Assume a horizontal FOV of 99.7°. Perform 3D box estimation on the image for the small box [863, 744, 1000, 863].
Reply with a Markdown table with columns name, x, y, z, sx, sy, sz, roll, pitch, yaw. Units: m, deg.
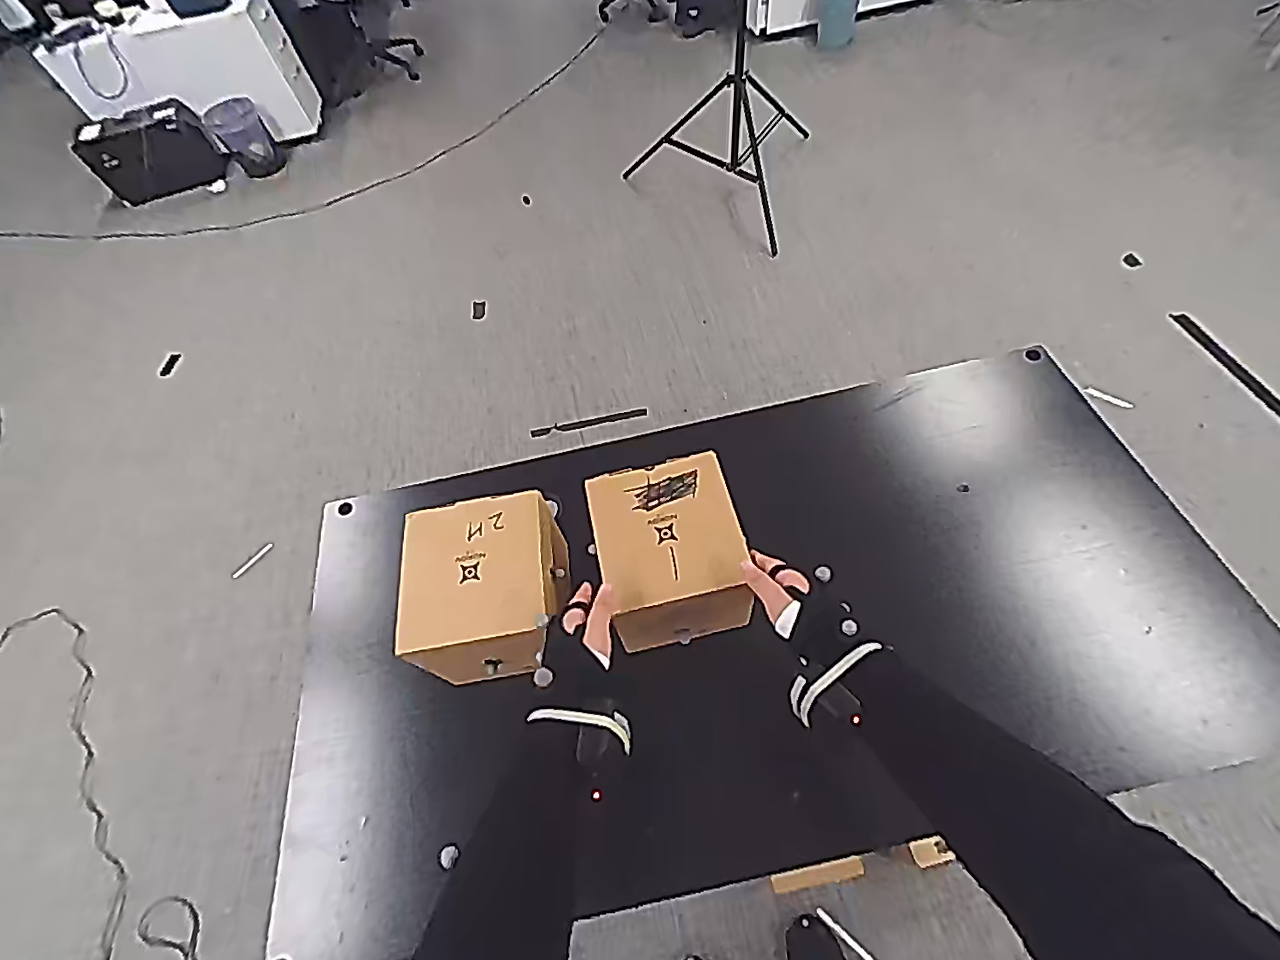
| name | x | y | z | sx | sy | sz | roll | pitch | yaw |
| --- | --- | --- | --- | --- | --- | --- | --- | --- | --- |
| small box | 0.588 | 0.671 | 1.123 | 0.168 | 0.176 | 0.179 | -14 | 58 | -1 |

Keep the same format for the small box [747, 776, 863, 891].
| name | x | y | z | sx | sy | sz | roll | pitch | yaw |
| --- | --- | --- | --- | --- | --- | --- | --- | --- | --- |
| small box | 0.331 | 0.728 | 1.125 | 0.179 | 0.176 | 0.168 | -14 | 57 | 0 |

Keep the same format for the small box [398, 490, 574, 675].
| name | x | y | z | sx | sy | sz | roll | pitch | yaw |
| --- | --- | --- | --- | --- | --- | --- | --- | --- | --- |
| small box | -0.184 | 0.139 | 0.688 | 0.168 | 0.176 | 0.179 | -10 | 58 | 0 |

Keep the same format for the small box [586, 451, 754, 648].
| name | x | y | z | sx | sy | sz | roll | pitch | yaw |
| --- | --- | --- | --- | --- | --- | --- | --- | --- | --- |
| small box | 0.035 | 0.093 | 0.689 | 0.168 | 0.176 | 0.179 | -14 | 59 | 0 |
